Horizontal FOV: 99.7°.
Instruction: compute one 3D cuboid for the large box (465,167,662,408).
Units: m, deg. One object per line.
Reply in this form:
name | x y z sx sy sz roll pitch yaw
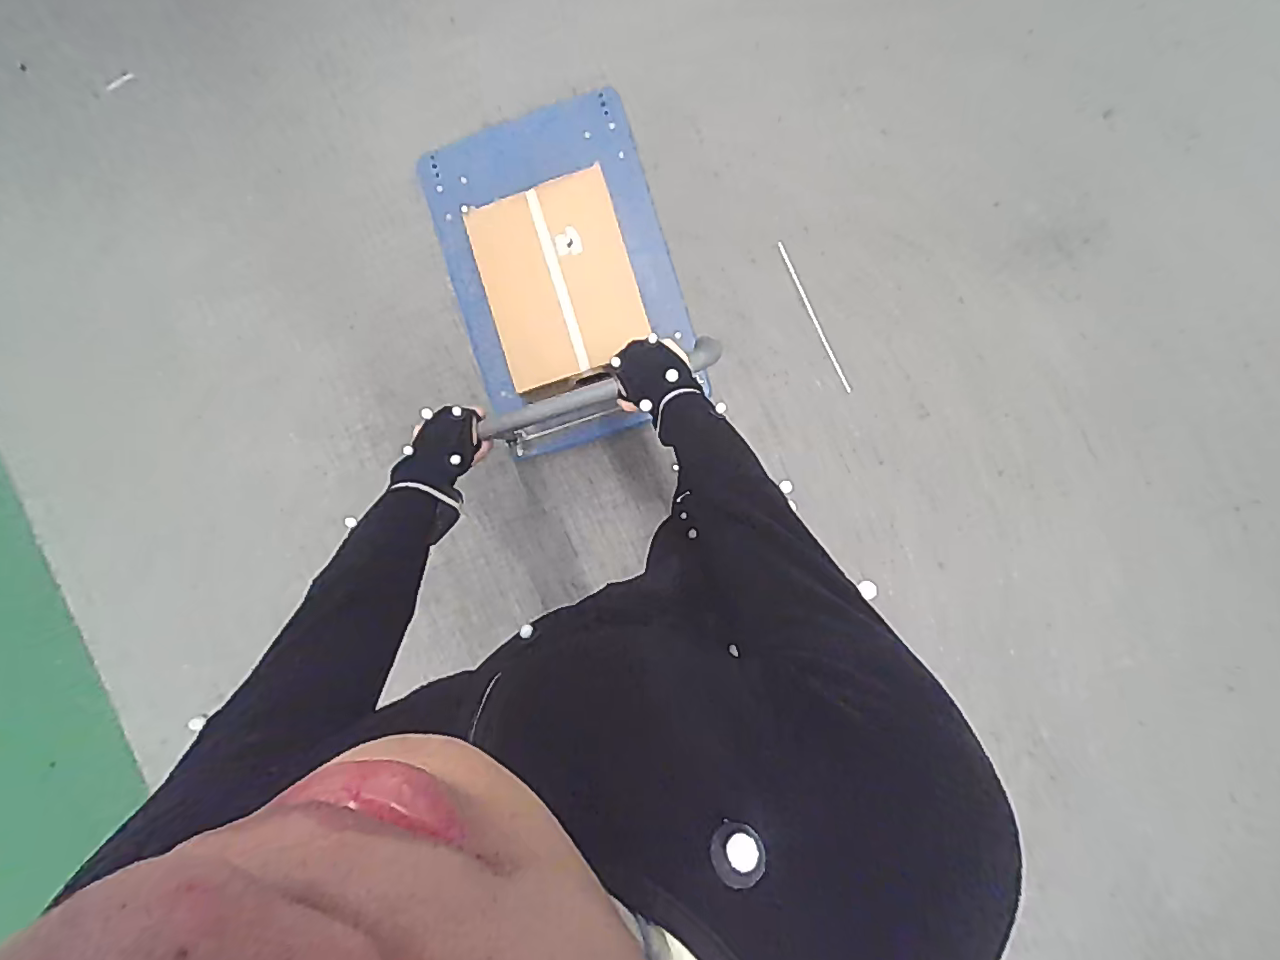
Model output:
large box | -0.157 -0.422 1.282 0.320 0.320 0.408 -17 89 3
